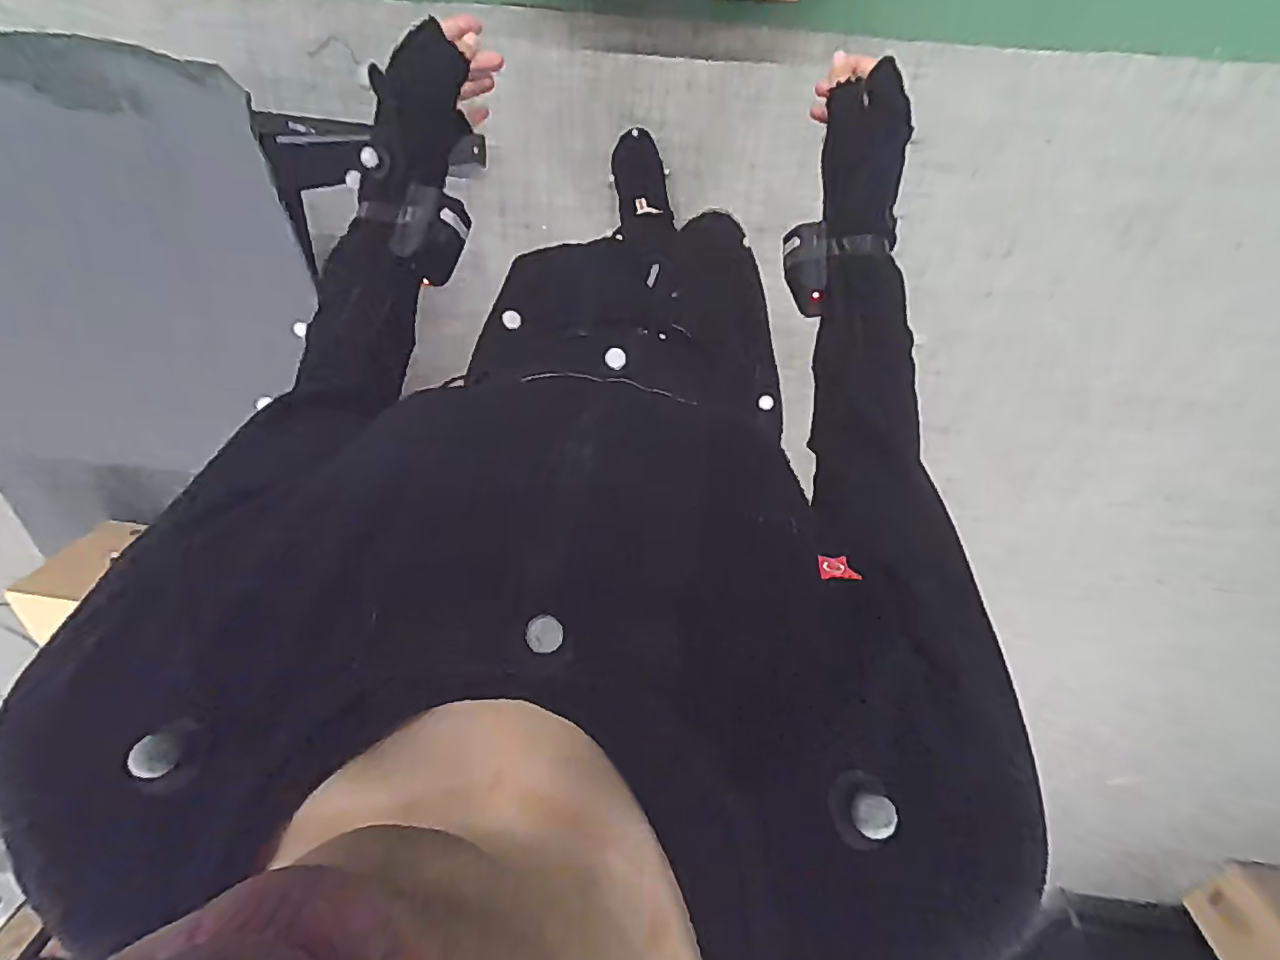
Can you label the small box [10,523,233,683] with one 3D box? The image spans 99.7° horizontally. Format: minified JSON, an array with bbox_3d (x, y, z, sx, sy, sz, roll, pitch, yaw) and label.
[{"bbox_3d":[-0.809,0.191,0.869,0.168,0.176,0.179,9,123,1],"label":"small box"}]
